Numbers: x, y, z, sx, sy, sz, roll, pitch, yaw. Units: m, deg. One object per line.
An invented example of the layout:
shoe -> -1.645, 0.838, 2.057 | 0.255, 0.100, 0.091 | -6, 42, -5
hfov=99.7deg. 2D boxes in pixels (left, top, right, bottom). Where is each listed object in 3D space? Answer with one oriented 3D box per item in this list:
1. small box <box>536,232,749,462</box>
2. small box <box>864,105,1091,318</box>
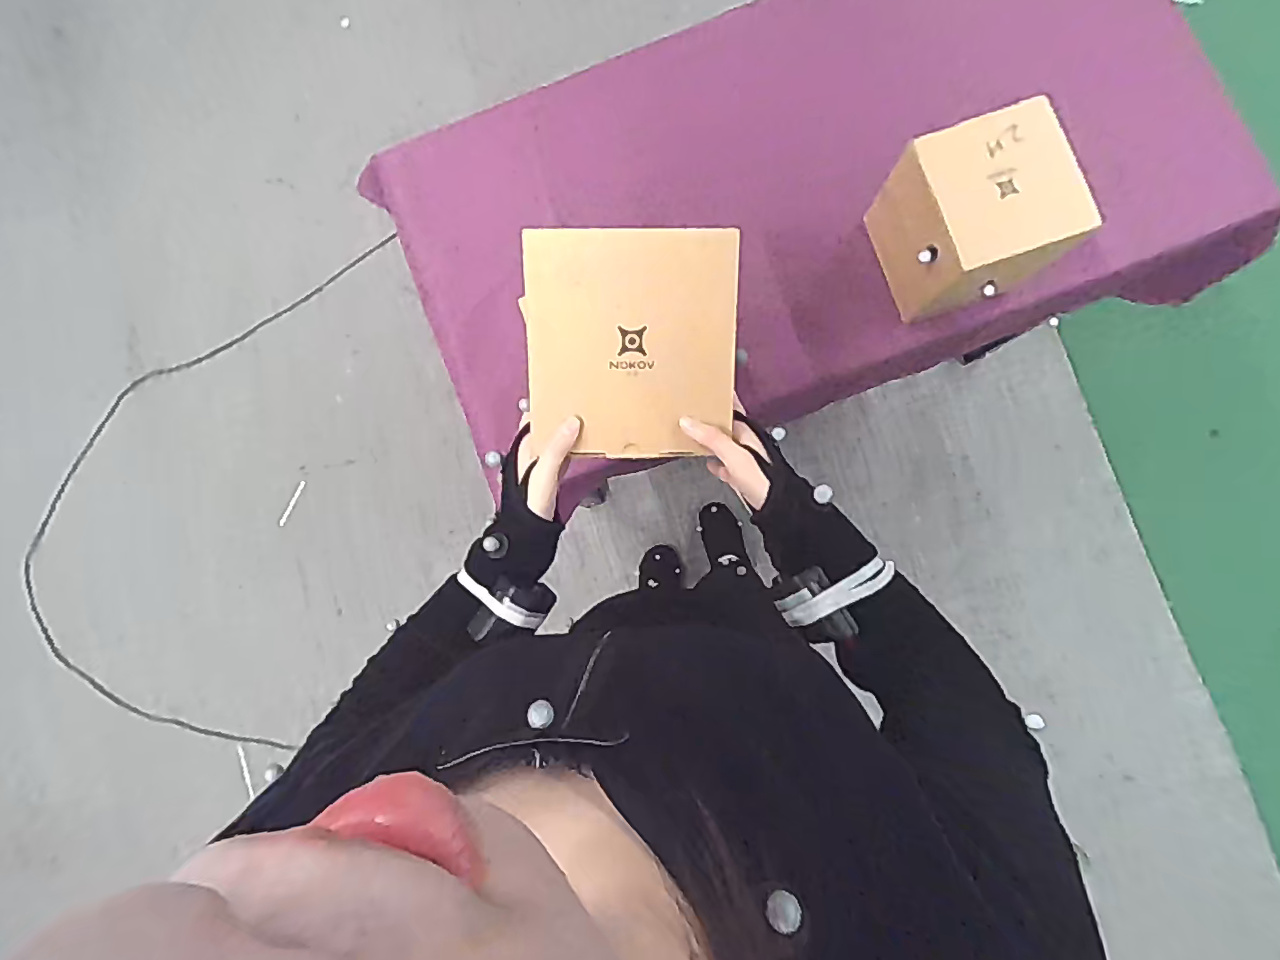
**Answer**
small box -> -0.002, -0.120, 0.505 | 0.168, 0.176, 0.179 | 1, 105, -1
small box -> 0.427, -0.335, 0.717 | 0.168, 0.176, 0.179 | -18, 84, 1
